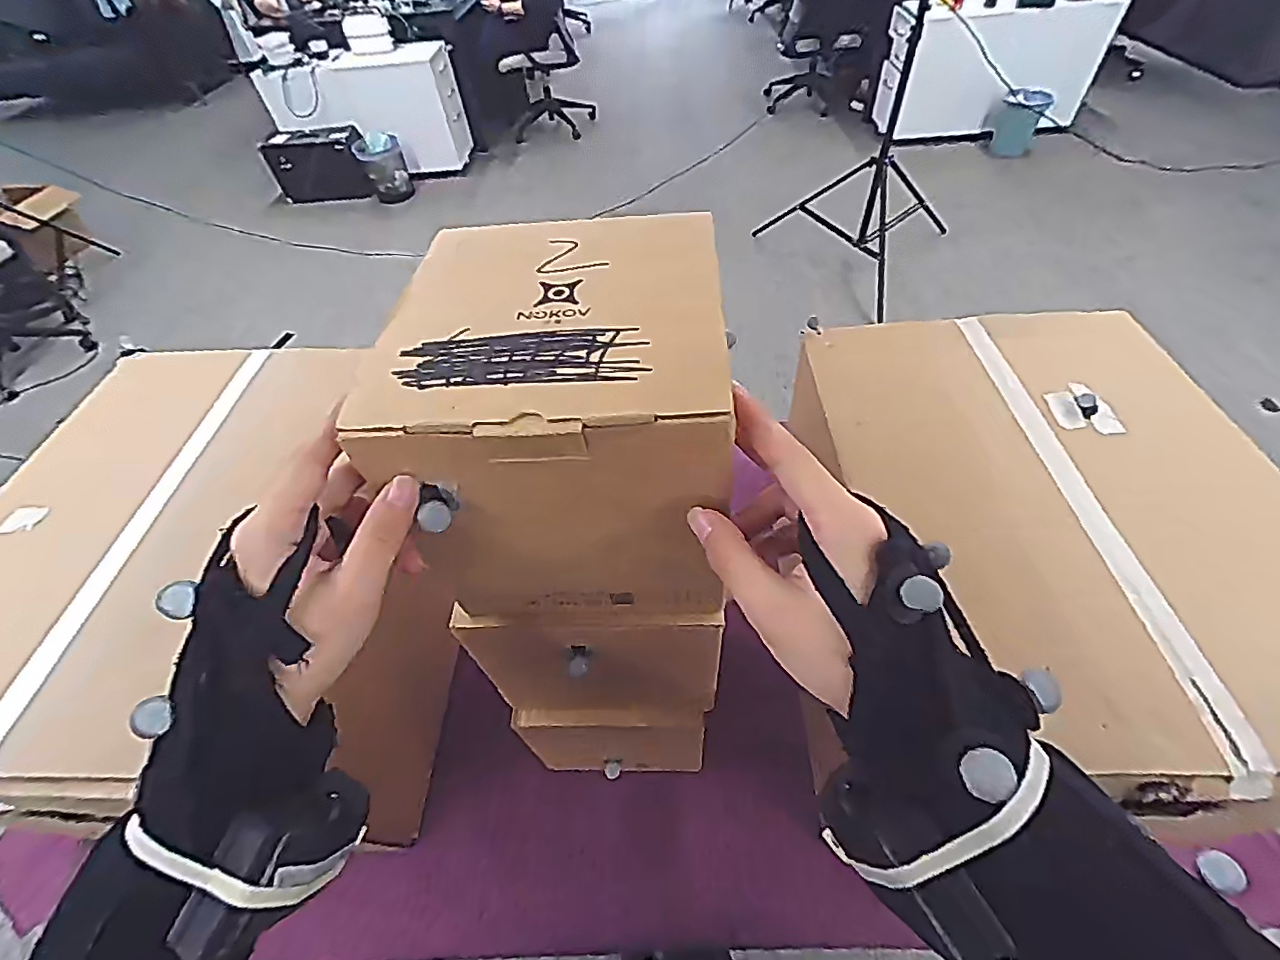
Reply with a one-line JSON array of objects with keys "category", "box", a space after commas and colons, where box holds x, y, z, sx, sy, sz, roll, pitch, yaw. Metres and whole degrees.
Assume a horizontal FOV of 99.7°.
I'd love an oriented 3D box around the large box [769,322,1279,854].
[{"category": "large box", "box": [0.320, 0.101, 0.524, 0.320, 0.320, 0.408, -2, 49, 3]}]
